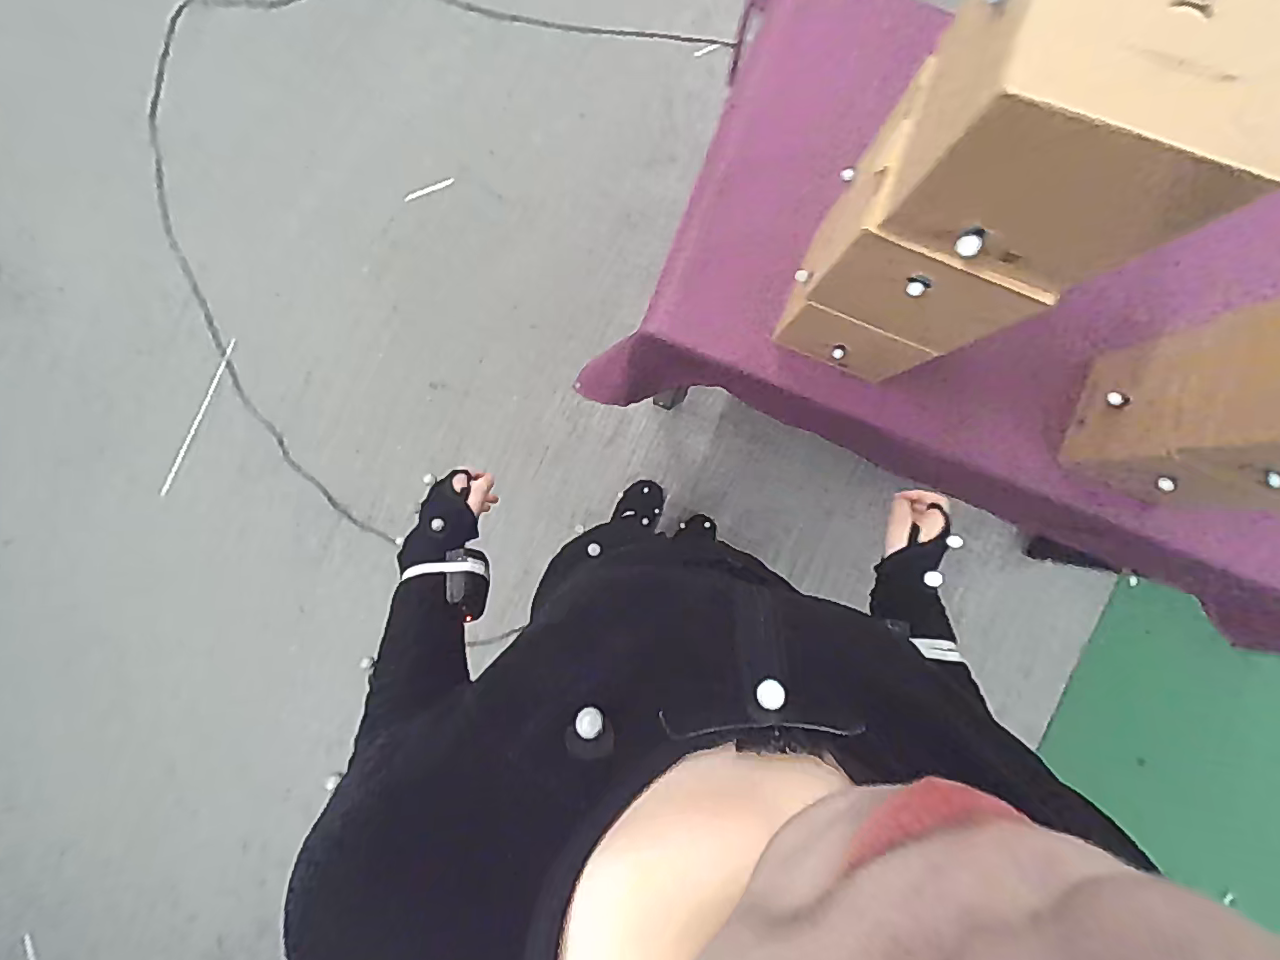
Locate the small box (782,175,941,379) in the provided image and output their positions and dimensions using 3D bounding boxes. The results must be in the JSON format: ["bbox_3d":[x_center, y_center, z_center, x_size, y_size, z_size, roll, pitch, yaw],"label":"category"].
[{"bbox_3d":[0.300,-0.249,0.700,0.168,0.176,0.179,23,89,0],"label":"small box"}]

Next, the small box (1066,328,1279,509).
[{"bbox_3d":[0.708,-0.066,0.694,0.179,0.176,0.168,22,90,2],"label":"small box"}]

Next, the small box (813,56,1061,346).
[{"bbox_3d":[0.298,-0.252,0.535,0.179,0.176,0.168,23,89,0],"label":"small box"}]

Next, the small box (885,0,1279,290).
[{"bbox_3d":[0.300,-0.263,0.372,0.168,0.176,0.179,21,90,1],"label":"small box"}]
